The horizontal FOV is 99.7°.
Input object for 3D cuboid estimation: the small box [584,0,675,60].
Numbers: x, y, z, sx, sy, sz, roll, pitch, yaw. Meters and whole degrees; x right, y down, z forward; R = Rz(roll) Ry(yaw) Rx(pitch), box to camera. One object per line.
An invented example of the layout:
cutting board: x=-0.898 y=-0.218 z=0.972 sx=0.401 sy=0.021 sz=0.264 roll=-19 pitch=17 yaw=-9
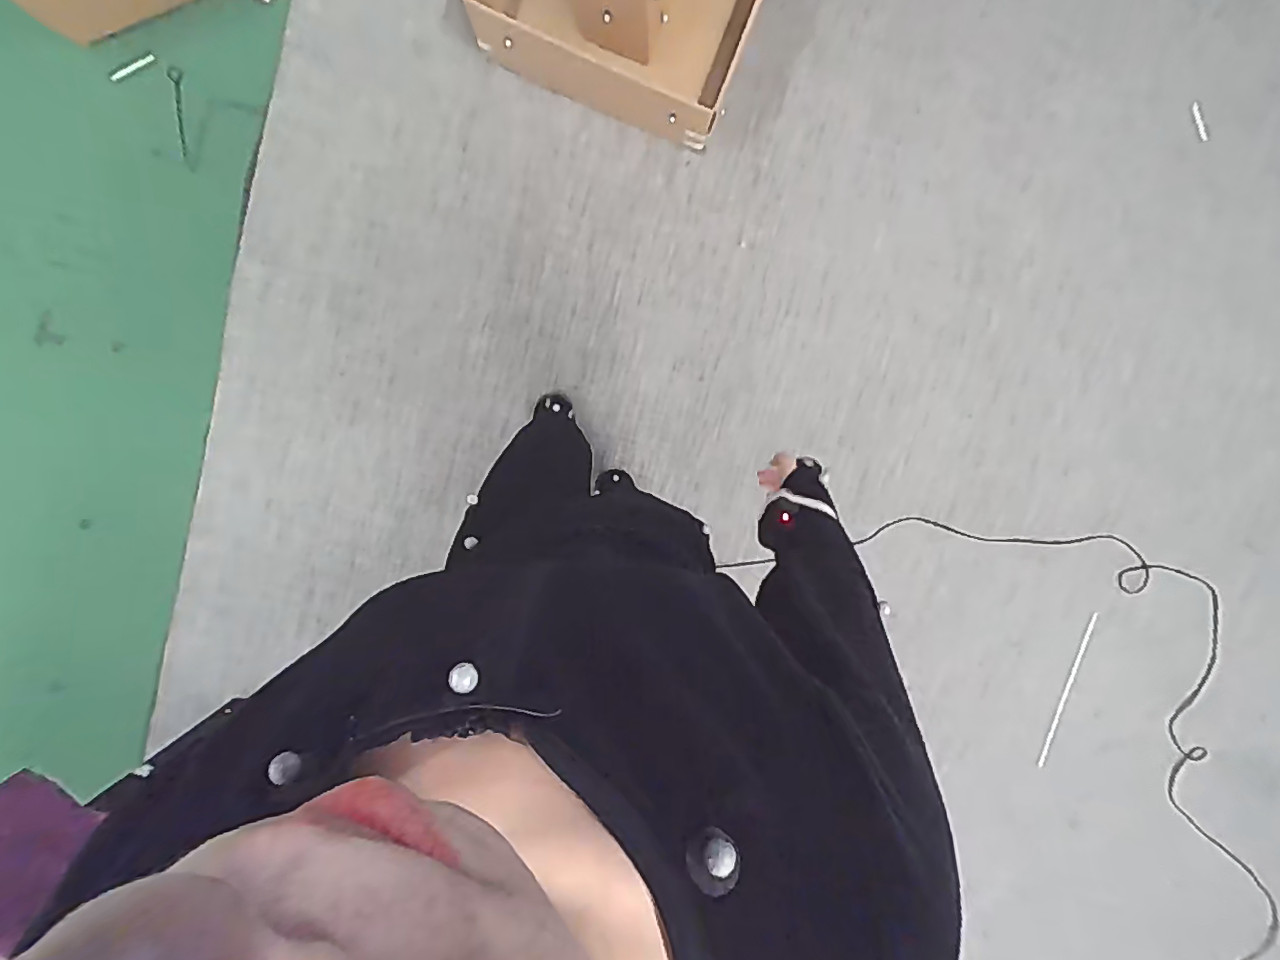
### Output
small box: x=-0.023 y=-1.103 z=1.217 sx=0.179 sy=0.176 sz=0.168 roll=22 pitch=97 yaw=-3

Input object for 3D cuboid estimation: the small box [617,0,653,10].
small box: x=-0.025 y=-1.081 z=1.054 sx=0.179 sy=0.176 sz=0.168 roll=23 pitch=96 yaw=-2
